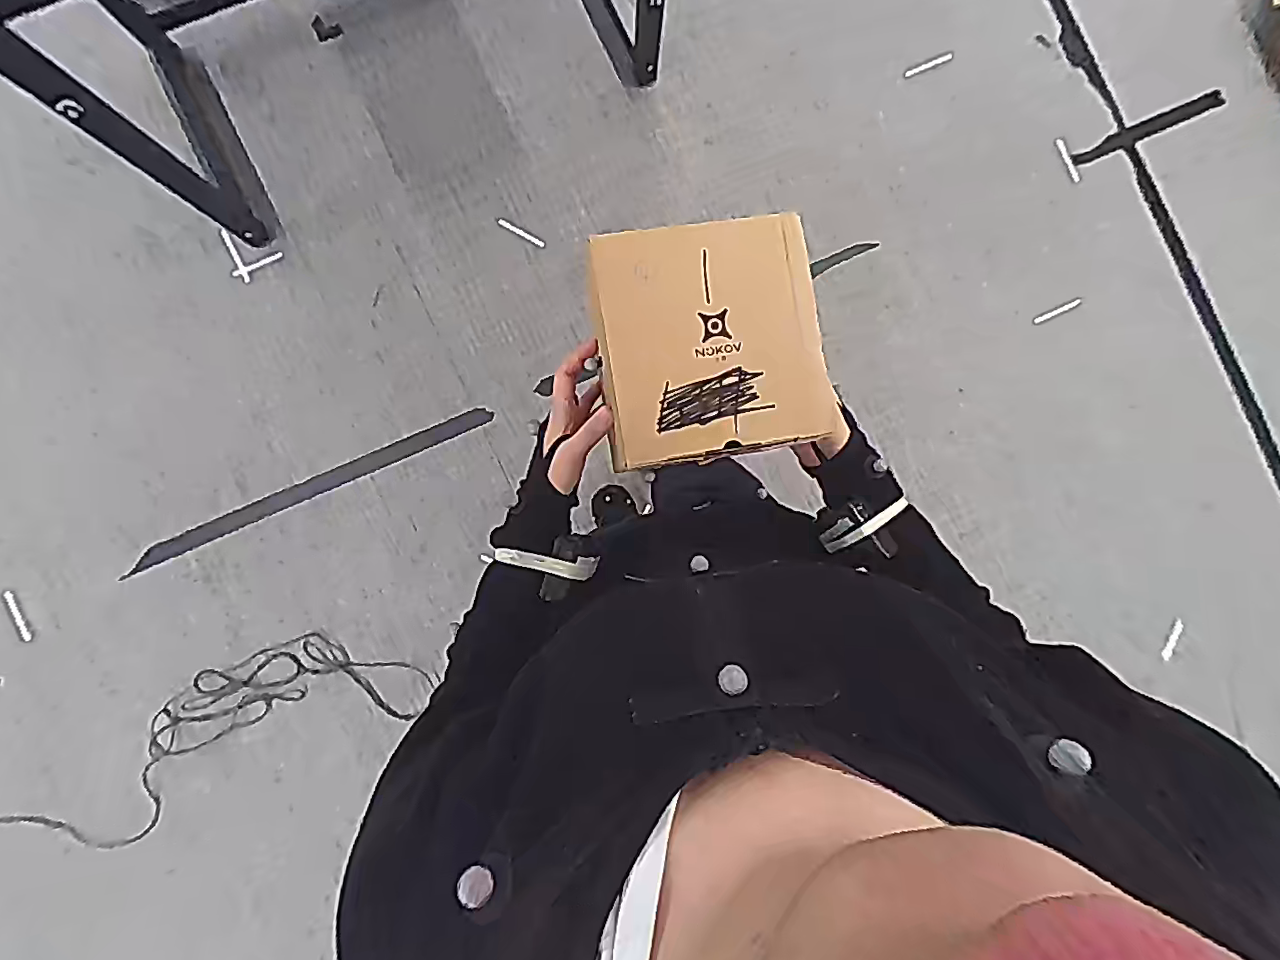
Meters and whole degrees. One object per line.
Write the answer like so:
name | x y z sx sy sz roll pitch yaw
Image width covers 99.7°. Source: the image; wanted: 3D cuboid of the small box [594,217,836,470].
small box | 0.052 -0.104 0.485 0.168 0.176 0.179 -9 89 -6
